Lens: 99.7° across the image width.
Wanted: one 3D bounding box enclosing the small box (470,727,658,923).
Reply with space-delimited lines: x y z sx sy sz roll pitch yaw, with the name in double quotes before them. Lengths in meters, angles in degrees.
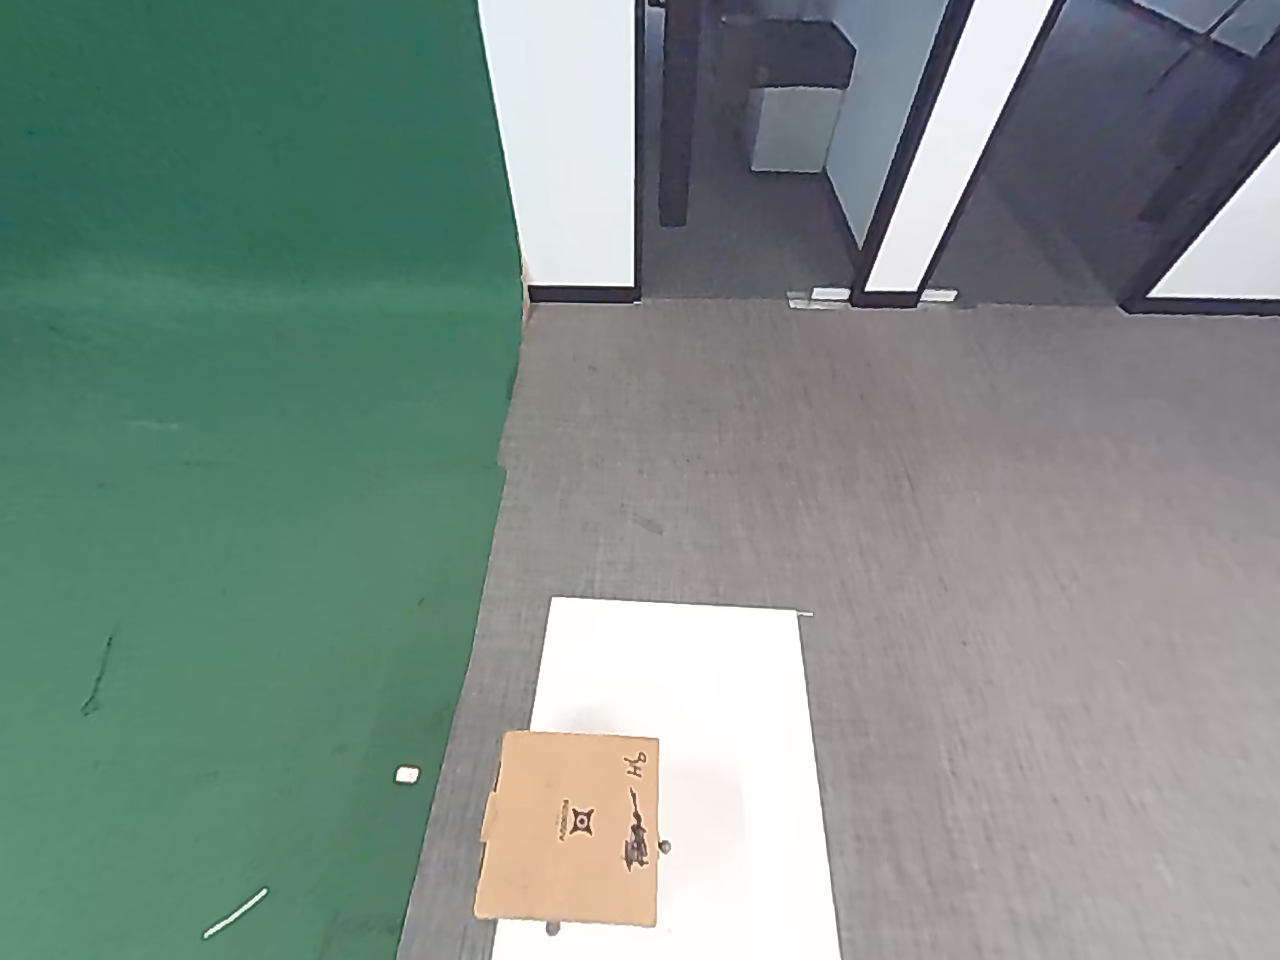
"small box" -0.071 0.392 0.615 0.179 0.176 0.168 3 53 0
